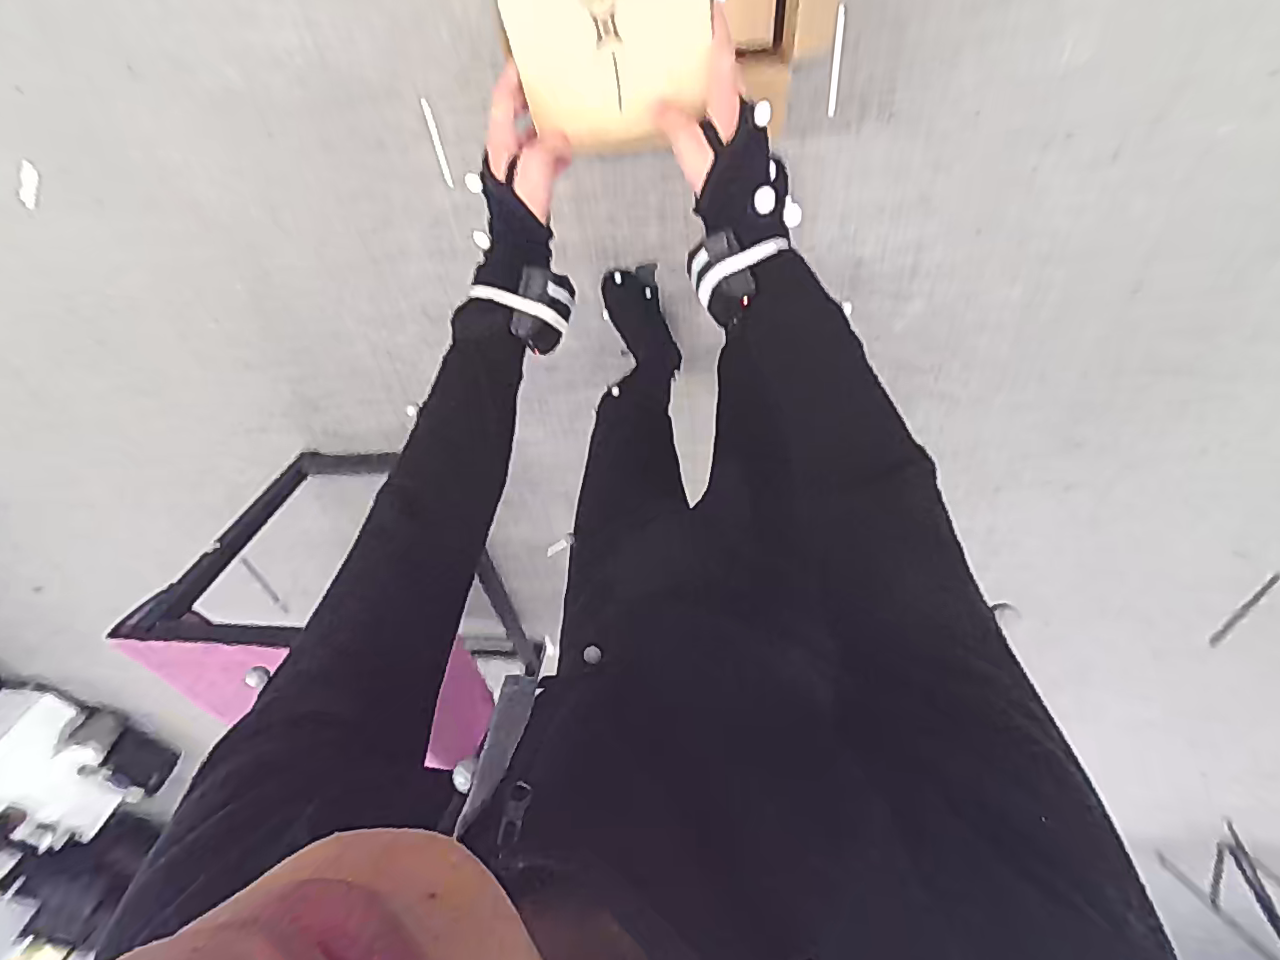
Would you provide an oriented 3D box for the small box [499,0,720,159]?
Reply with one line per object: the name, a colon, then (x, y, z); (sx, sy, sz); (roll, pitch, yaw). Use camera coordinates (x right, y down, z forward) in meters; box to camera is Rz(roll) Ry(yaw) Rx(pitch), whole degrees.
small box: (-0.021, -0.418, 0.483); (0.168, 0.176, 0.179); (-5, 133, 11)
